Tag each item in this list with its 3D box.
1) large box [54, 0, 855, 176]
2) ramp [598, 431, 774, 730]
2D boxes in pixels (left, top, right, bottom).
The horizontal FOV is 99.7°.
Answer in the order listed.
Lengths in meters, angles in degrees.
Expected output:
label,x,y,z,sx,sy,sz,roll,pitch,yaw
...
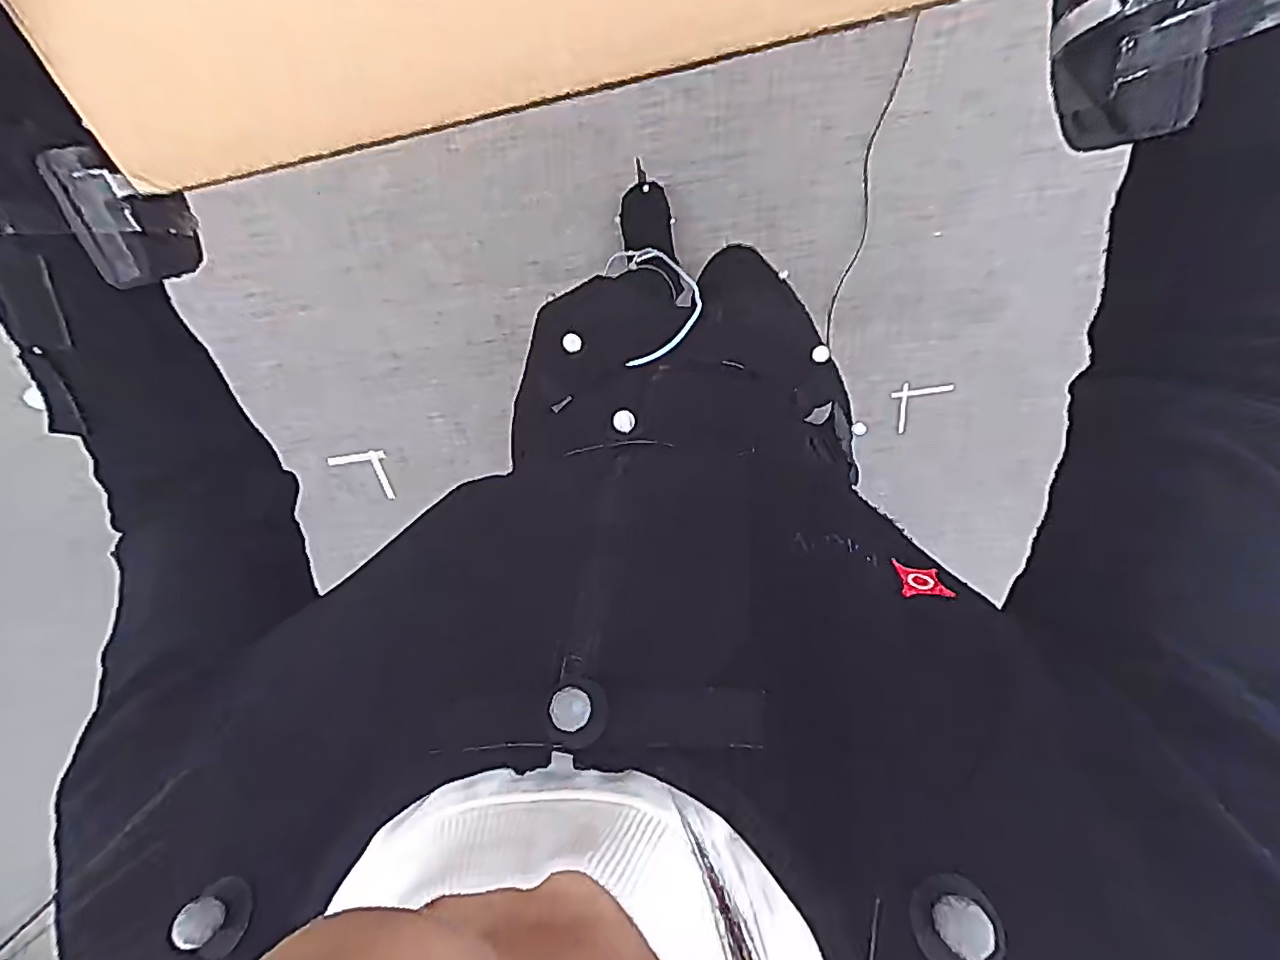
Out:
label,x,y,z,sx,sy,sz,roll,pitch,yaw
large box,-0.058,-0.382,0.256,0.408,0.320,0.320,-8,128,9
ramp,0.159,0.352,1.644,0.509,0.206,0.991,-4,118,6
